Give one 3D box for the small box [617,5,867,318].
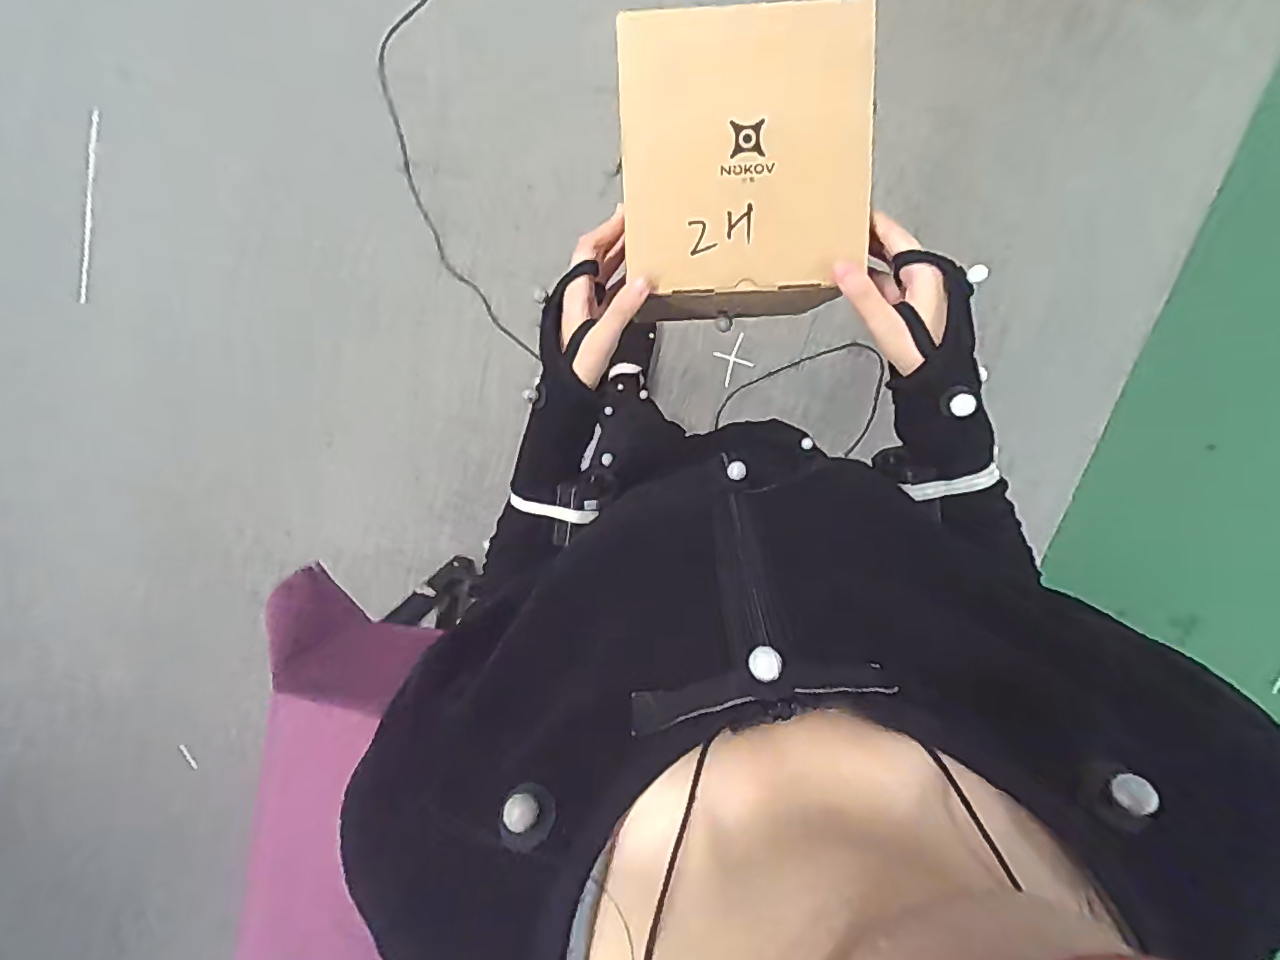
[{"bbox_3d":[0.067,-0.233,0.441,0.168,0.176,0.179,0,101,1],"label":"small box"}]
